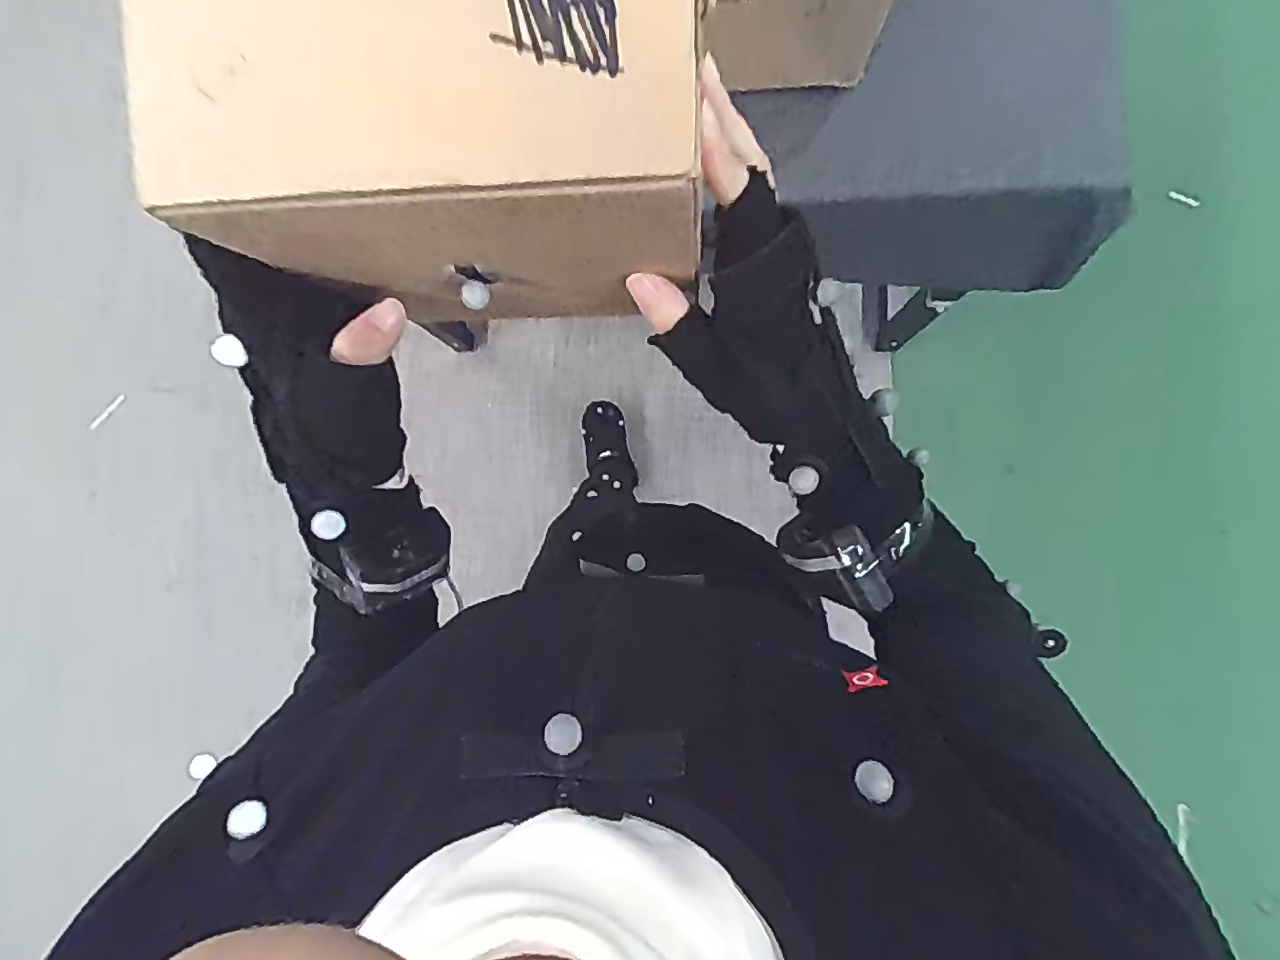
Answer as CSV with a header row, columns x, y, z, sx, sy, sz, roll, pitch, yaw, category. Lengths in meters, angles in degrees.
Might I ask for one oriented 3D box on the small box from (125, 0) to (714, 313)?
x,y,z,sx,sy,sz,roll,pitch,yaw,category
-0.064,-0.175,0.234,0.179,0.176,0.168,-3,96,5,small box
